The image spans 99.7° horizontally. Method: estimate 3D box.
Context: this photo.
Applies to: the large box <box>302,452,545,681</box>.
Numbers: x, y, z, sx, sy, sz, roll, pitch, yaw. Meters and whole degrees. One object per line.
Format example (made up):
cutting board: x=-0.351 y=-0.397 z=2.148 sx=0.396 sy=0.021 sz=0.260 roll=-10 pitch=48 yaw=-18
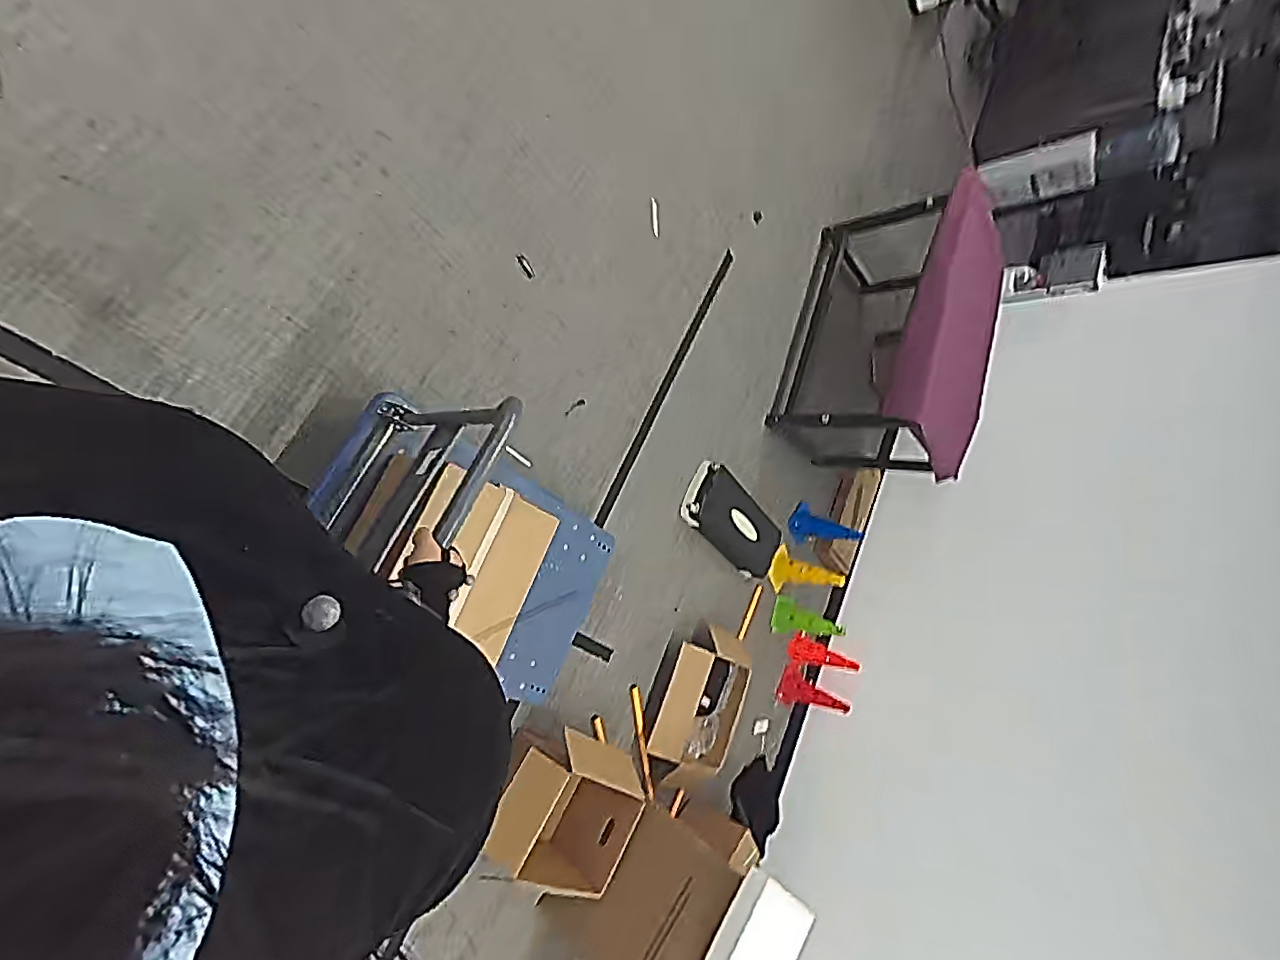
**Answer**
large box: x=-0.490 y=0.186 z=1.243 sx=0.320 sy=0.320 sz=0.408 roll=35 pitch=72 yaw=-40
